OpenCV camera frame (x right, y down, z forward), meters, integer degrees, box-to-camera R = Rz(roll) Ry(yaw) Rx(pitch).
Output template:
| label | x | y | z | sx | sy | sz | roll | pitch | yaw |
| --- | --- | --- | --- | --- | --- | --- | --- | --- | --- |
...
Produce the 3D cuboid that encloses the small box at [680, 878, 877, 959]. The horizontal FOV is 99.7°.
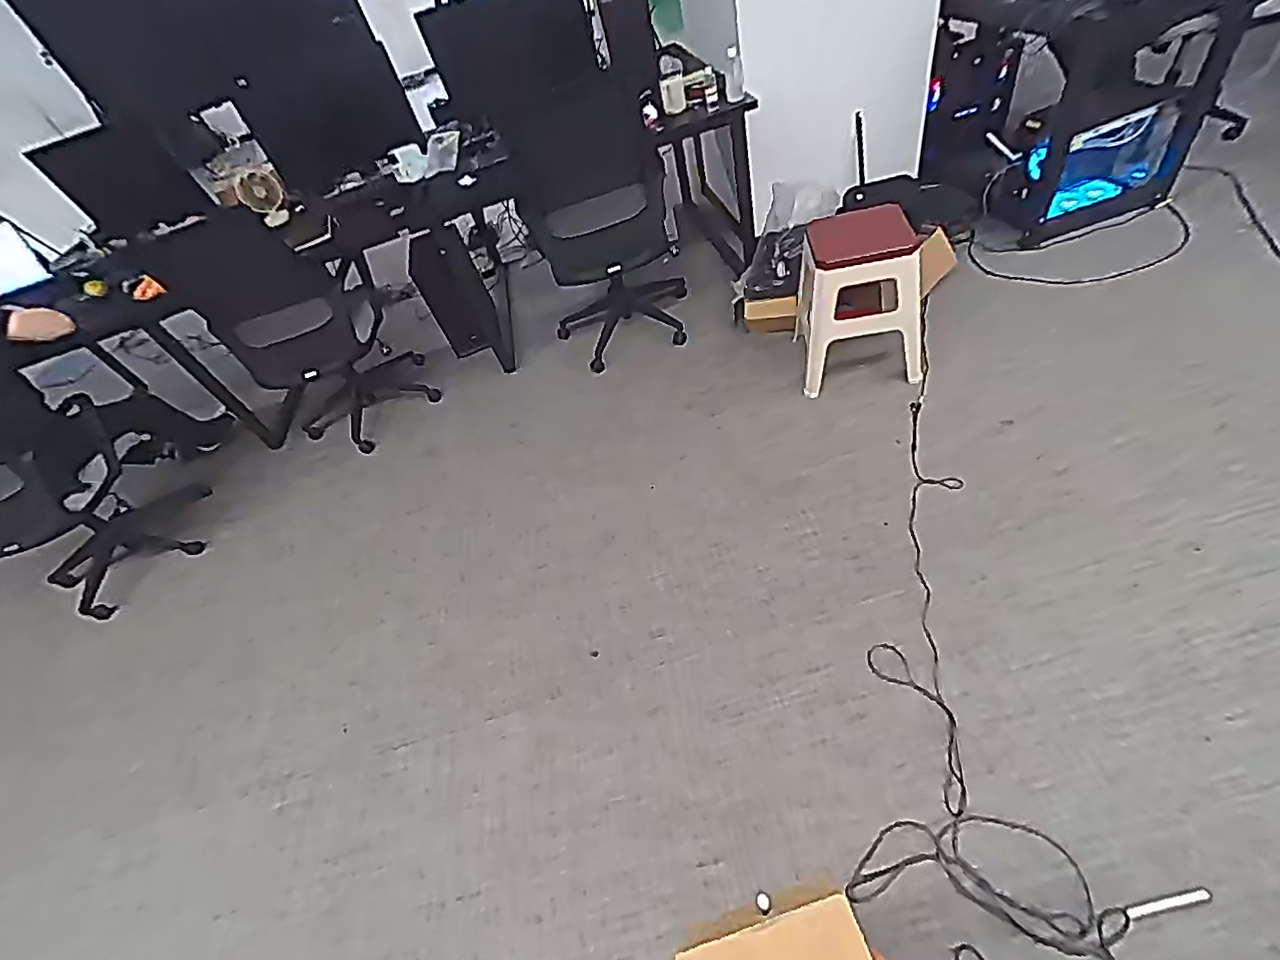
| label | x | y | z | sx | sy | sz | roll | pitch | yaw |
| --- | --- | --- | --- | --- | --- | --- | --- | --- | --- |
| small box | 0.150 | 0.516 | 0.524 | 0.179 | 0.176 | 0.168 | -20 | 58 | 0 |
